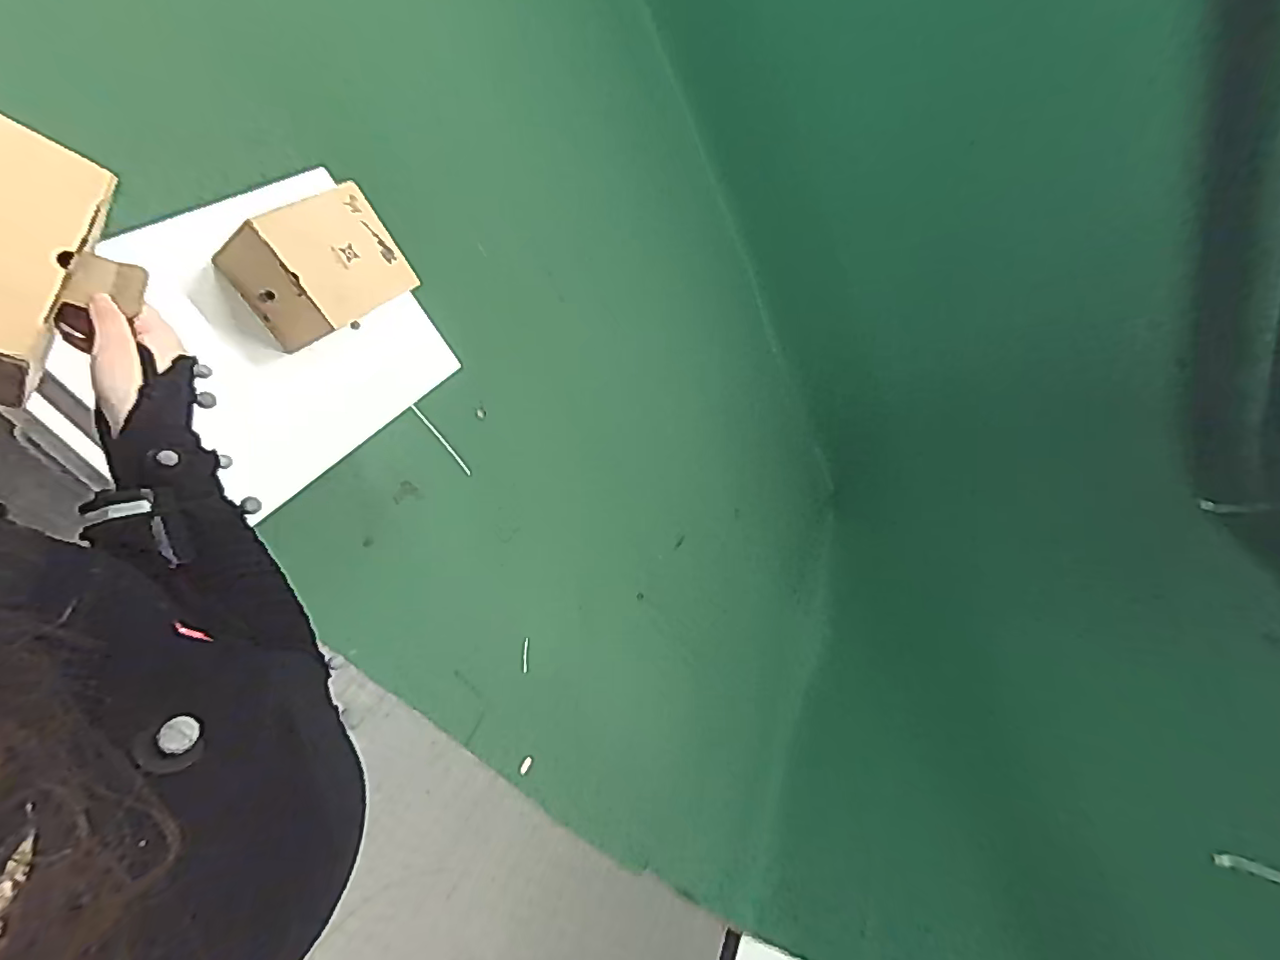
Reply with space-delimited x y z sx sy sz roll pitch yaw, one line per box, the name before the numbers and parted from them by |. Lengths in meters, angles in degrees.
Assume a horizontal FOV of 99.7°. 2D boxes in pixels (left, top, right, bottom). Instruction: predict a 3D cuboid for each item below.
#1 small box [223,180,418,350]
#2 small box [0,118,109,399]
small box | -0.488 -0.319 0.822 0.179 0.176 0.168 -53 127 -39
small box | -0.525 -0.168 0.373 0.179 0.176 0.168 23 66 -48
